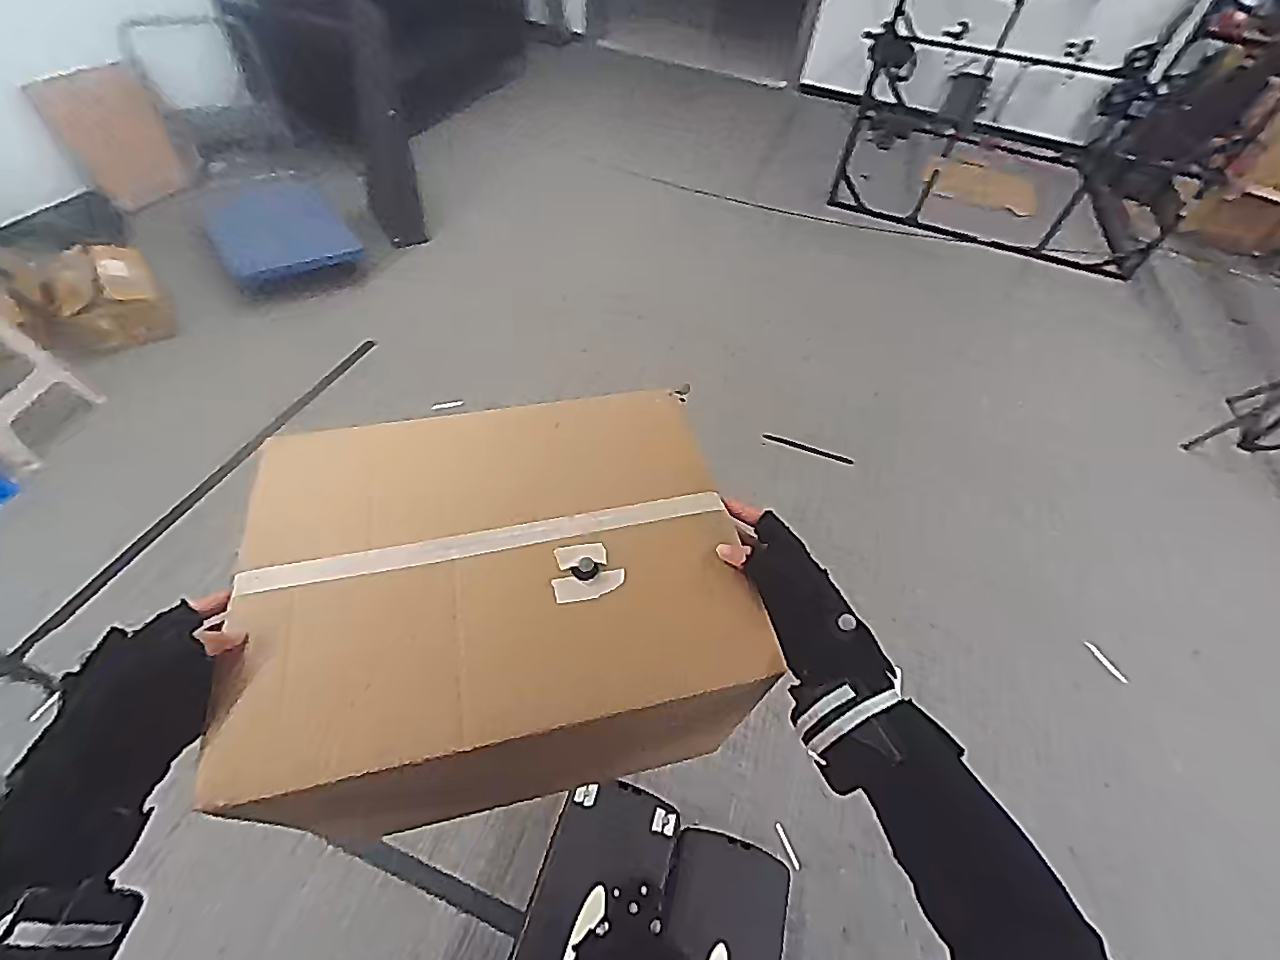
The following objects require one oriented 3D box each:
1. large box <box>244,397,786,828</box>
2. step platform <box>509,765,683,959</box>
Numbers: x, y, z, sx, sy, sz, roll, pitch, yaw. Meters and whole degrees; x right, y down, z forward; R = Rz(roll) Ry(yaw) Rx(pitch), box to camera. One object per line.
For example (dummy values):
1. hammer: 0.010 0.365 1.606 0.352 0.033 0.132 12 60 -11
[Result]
1. large box: -0.118 0.145 0.597 0.408 0.320 0.320 -8 55 -11
2. step platform: -0.119 1.004 1.204 0.286 0.204 0.684 17 51 7
